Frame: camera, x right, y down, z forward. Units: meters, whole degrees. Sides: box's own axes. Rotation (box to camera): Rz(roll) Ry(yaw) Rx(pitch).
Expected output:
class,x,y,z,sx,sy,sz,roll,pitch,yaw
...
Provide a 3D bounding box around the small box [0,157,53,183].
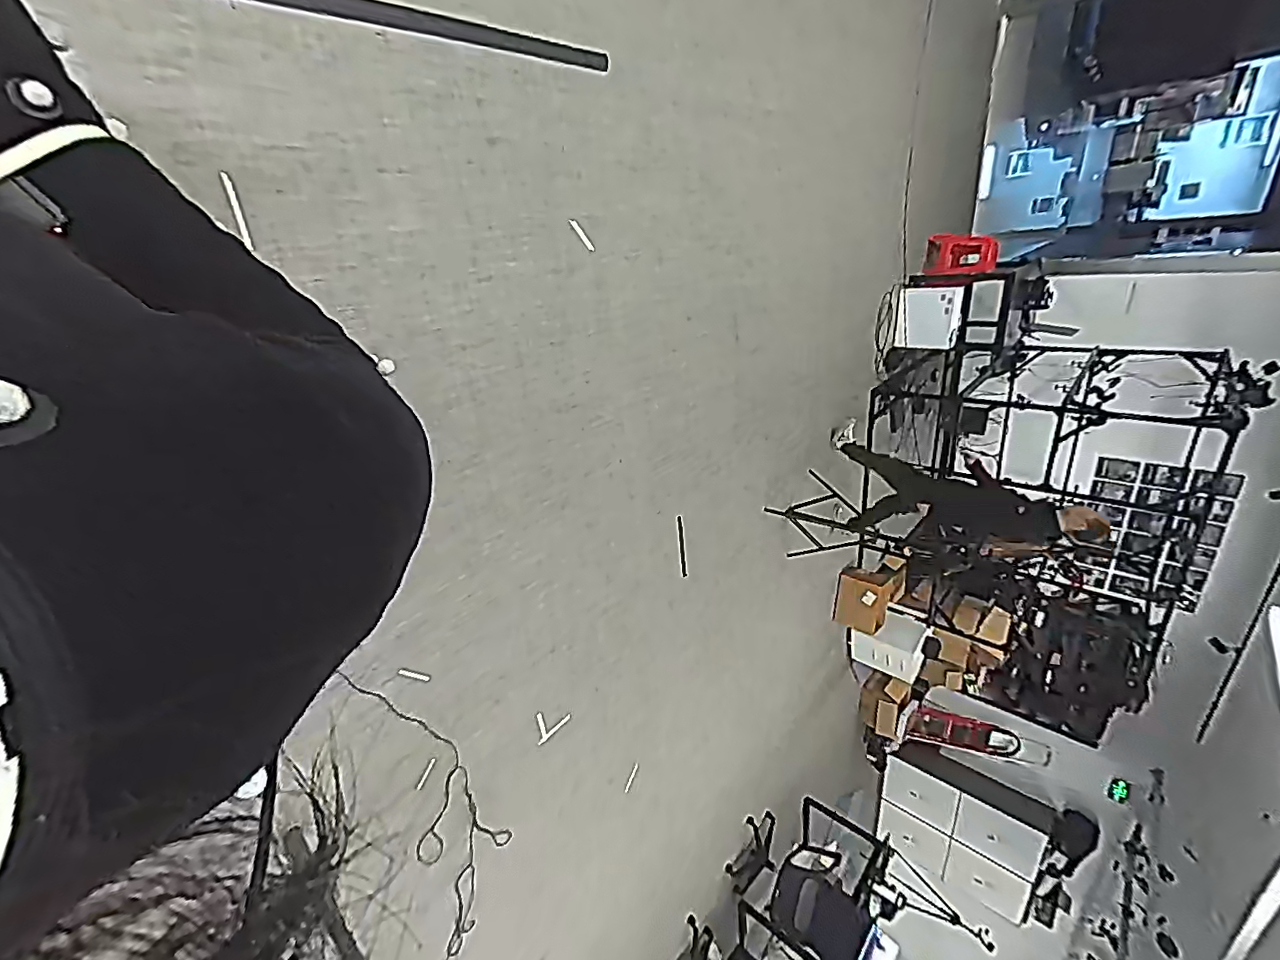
class,x,y,z,sx,sy,sz,roll,pitch,yaw
small box,-0.960,-0.516,0.734,0.168,0.176,0.179,-31,122,-40

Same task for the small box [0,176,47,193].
class,x,y,z,sx,sy,sz,roll,pitch,yaw
small box,-1.082,-0.549,0.837,0.179,0.176,0.168,-28,121,-40

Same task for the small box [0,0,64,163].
class,x,y,z,sx,sy,sz,roll,pitch,yaw
small box,-0.834,-0.487,0.631,0.168,0.176,0.179,-30,123,-40
